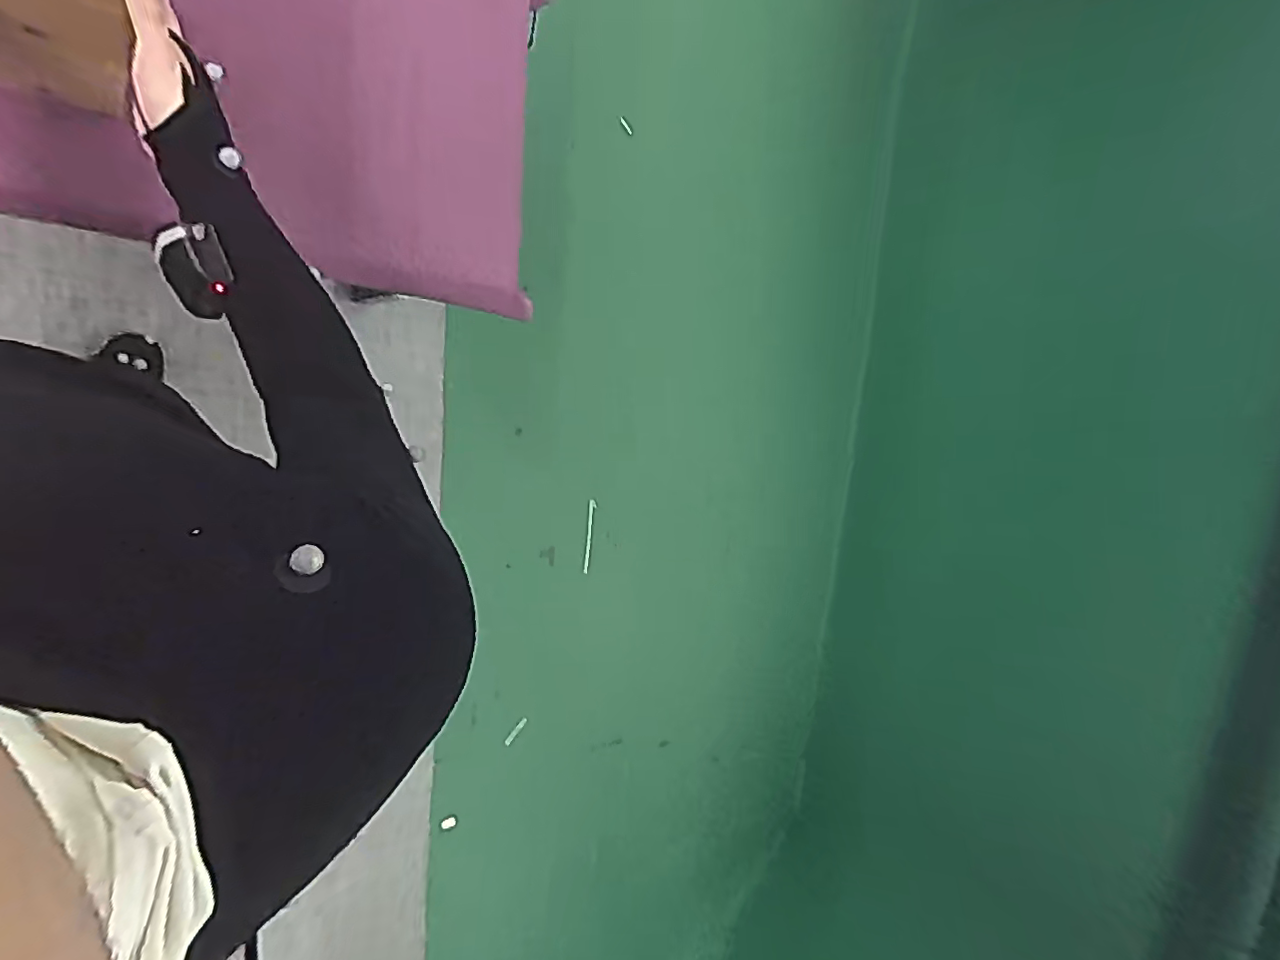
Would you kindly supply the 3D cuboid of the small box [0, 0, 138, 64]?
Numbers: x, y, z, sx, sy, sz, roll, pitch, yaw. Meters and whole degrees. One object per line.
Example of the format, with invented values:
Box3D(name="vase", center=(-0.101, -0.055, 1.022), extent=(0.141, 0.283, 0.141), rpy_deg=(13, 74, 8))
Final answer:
Box3D(name="small box", center=(-0.491, -0.460, 0.394), extent=(0.168, 0.176, 0.179), rpy_deg=(-6, 104, -45))
